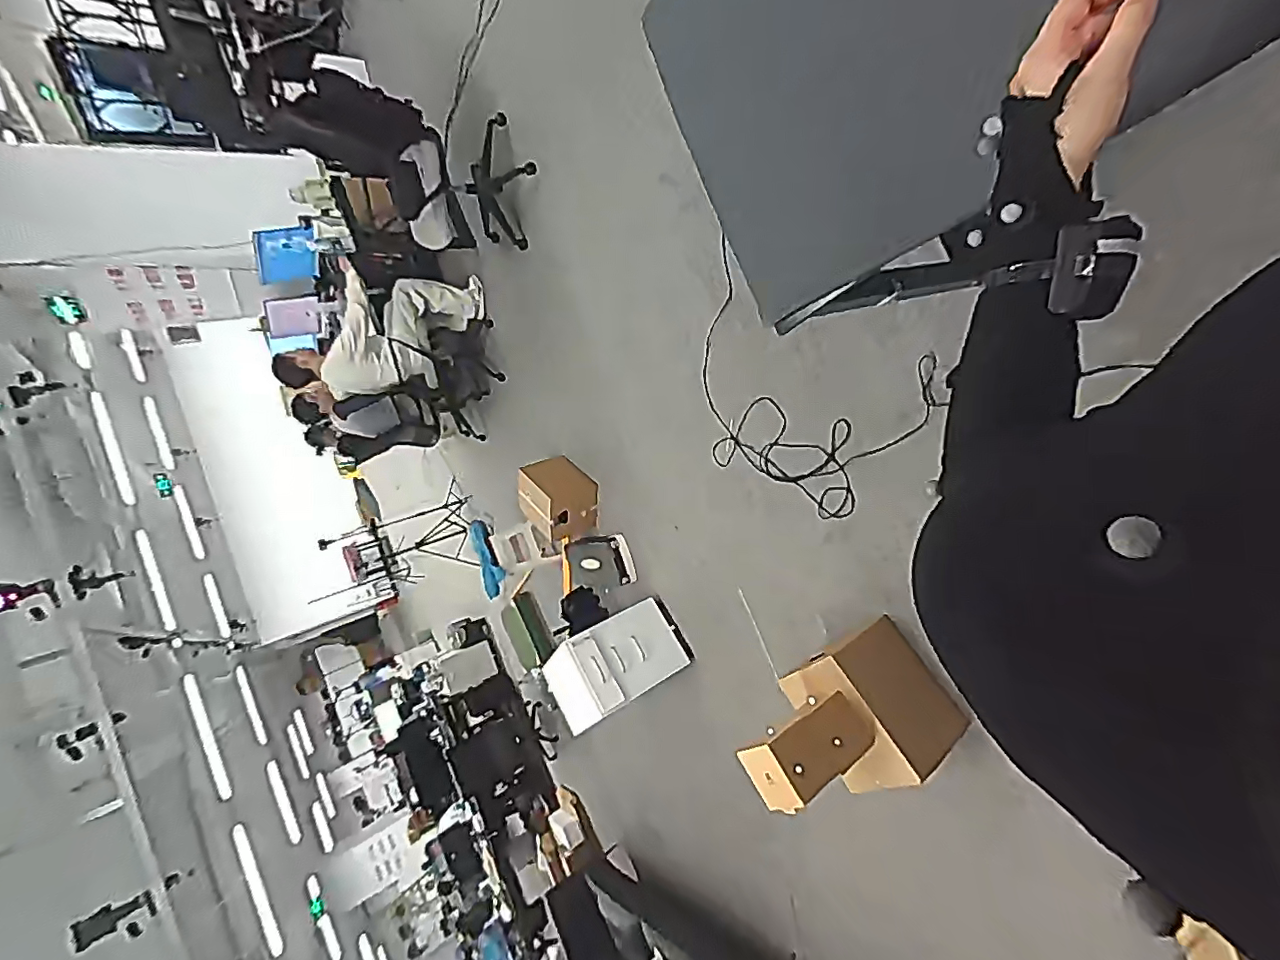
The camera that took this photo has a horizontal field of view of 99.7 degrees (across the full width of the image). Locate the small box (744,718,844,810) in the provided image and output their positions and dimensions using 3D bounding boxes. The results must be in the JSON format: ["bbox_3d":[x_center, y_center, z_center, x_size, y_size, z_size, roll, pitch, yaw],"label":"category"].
[{"bbox_3d":[0.438,0.803,1.543,0.179,0.176,0.168,58,143,18],"label":"small box"}]

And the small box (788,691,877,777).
[{"bbox_3d":[0.572,0.770,1.629,0.179,0.176,0.168,58,144,19],"label":"small box"}]
